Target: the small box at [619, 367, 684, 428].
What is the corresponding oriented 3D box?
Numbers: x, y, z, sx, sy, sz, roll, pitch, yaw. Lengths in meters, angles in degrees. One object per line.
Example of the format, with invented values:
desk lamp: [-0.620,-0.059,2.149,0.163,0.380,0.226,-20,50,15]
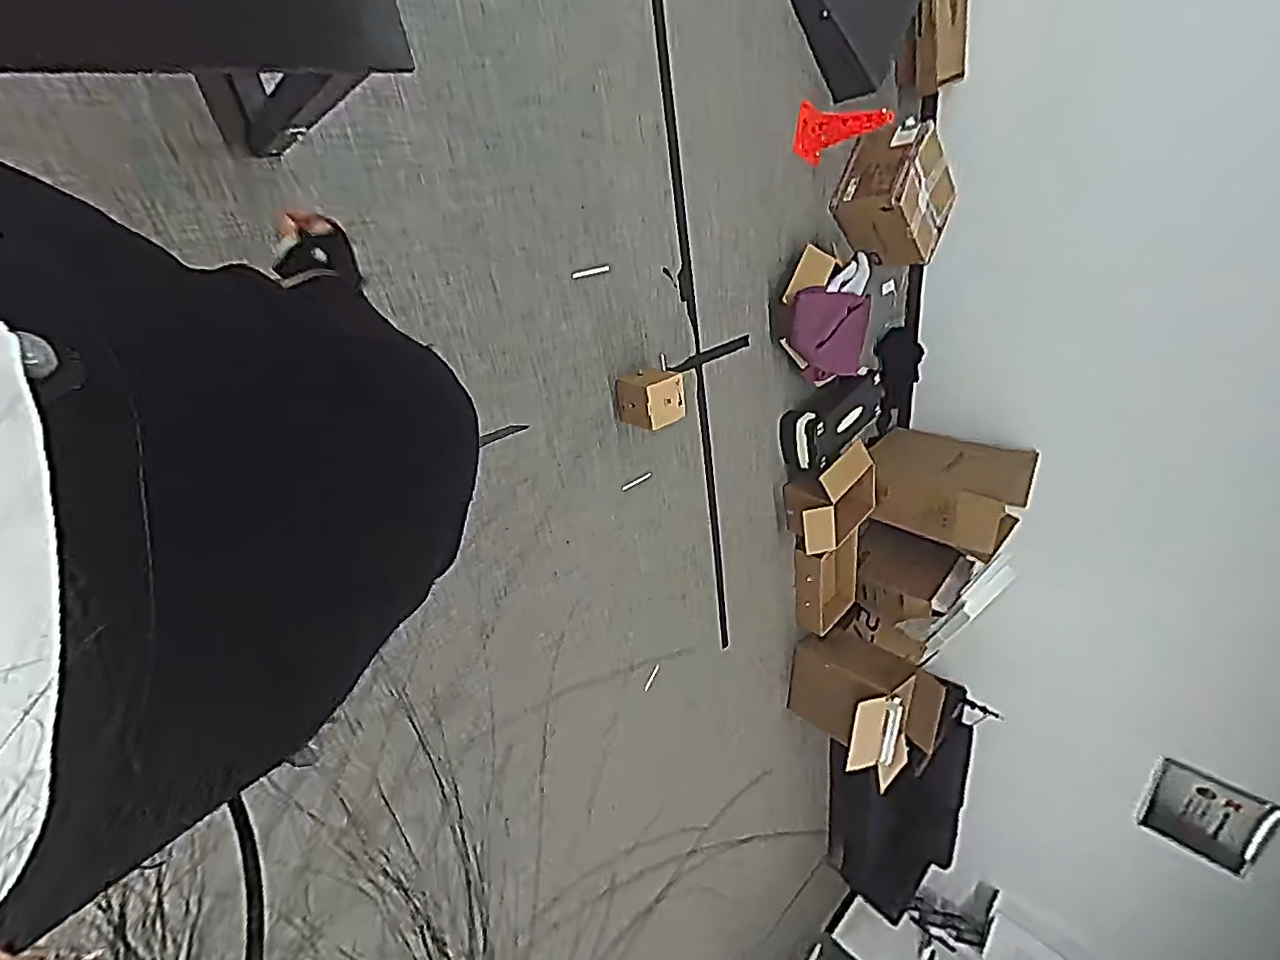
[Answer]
small box: [0.036,-0.305,1.969,0.179,0.176,0.168,-27,122,-33]
